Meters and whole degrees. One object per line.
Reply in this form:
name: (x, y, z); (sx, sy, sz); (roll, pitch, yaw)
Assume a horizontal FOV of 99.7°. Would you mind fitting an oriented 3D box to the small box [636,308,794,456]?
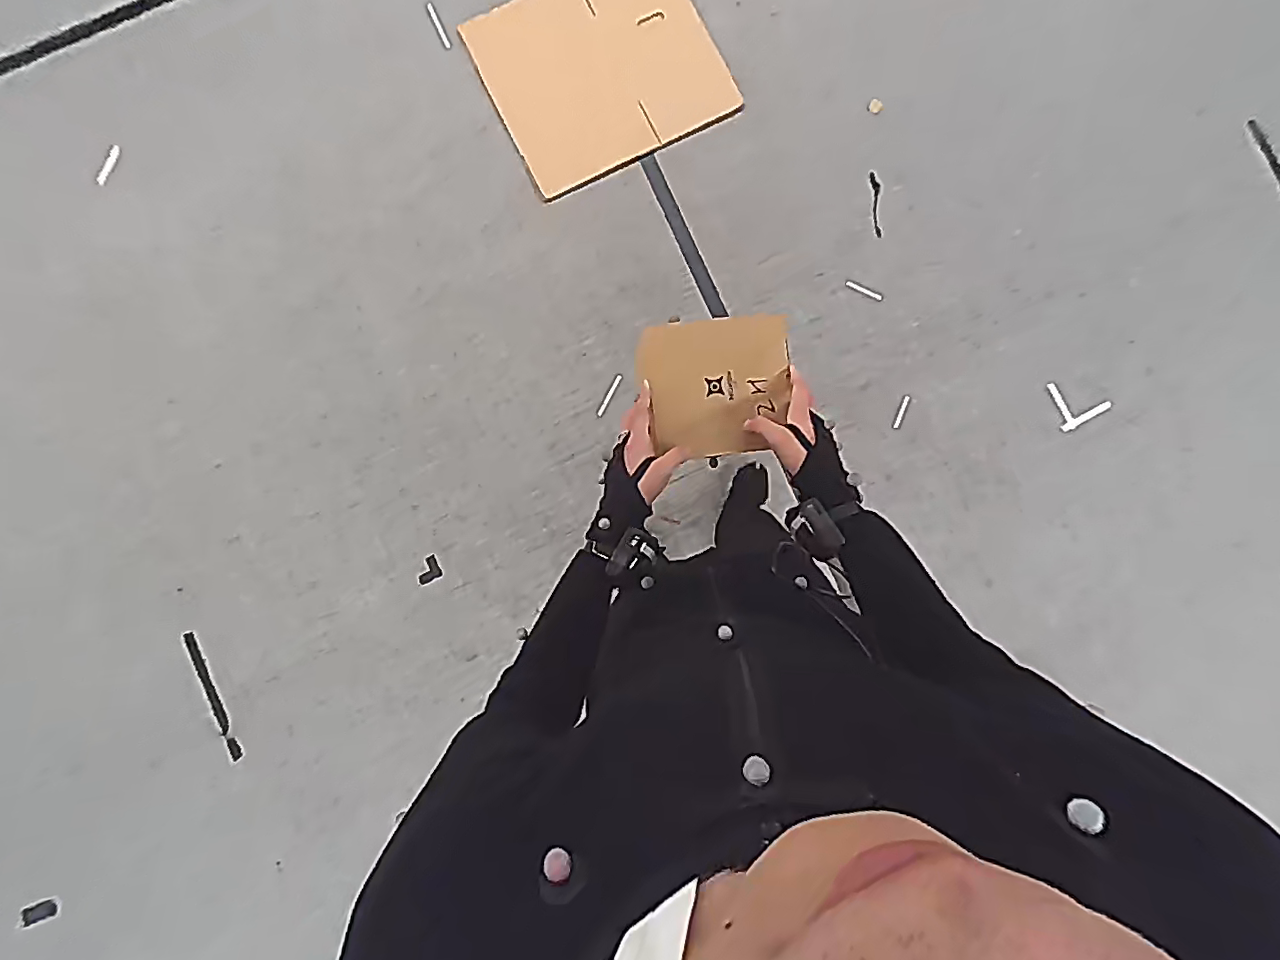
small box: (0.089, -0.121, 0.729); (0.179, 0.176, 0.168); (-7, 94, -4)
